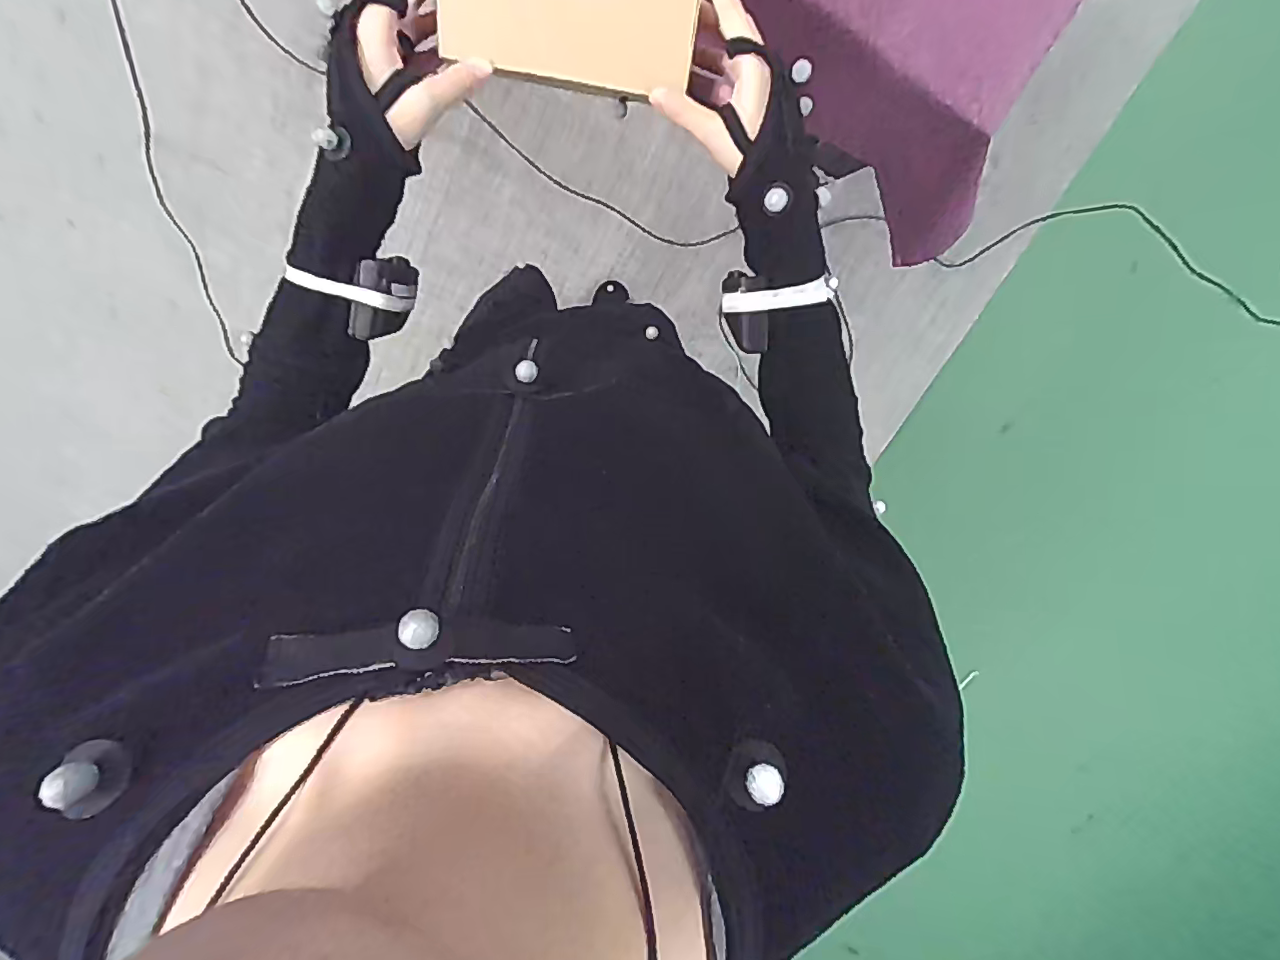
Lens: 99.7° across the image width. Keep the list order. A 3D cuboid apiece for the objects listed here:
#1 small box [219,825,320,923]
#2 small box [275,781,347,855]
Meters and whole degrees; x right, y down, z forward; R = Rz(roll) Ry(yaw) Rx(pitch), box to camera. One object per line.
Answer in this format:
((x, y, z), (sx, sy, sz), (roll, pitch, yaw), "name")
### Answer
((-1.146, 1.226, 1.689), (0.179, 0.176, 0.168), (35, 104, -15), "small box")
((-1.144, 1.179, 1.848), (0.168, 0.176, 0.179), (35, 104, -15), "small box")
